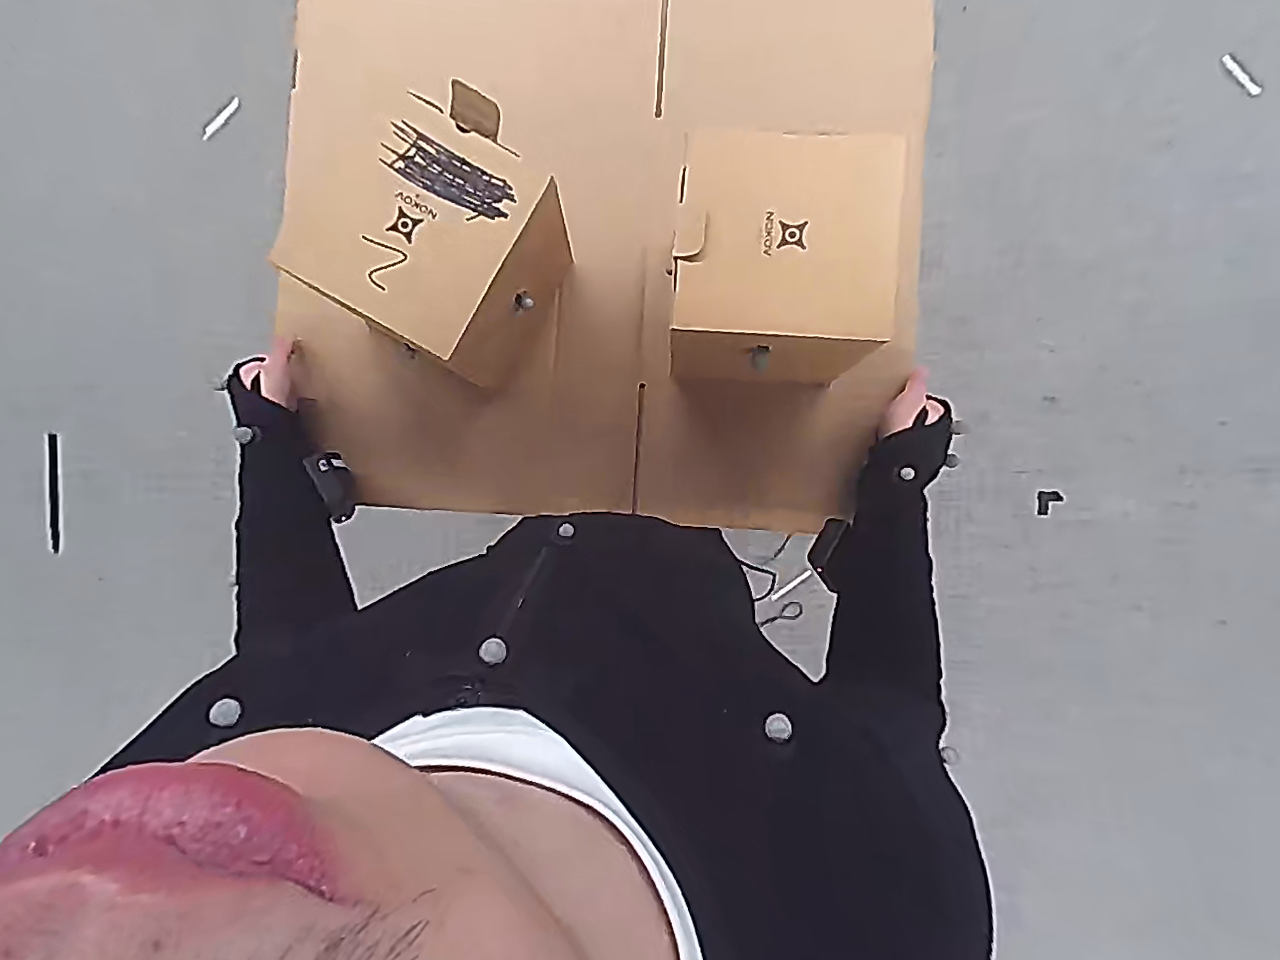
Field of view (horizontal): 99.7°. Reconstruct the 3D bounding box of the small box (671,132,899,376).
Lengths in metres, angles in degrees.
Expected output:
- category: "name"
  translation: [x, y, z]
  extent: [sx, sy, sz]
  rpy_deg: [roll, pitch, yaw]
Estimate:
- category: "small box"
  translation: [0.124, -0.201, 0.525]
  extent: [0.179, 0.176, 0.168]
  rpy_deg: [4, 89, 5]
